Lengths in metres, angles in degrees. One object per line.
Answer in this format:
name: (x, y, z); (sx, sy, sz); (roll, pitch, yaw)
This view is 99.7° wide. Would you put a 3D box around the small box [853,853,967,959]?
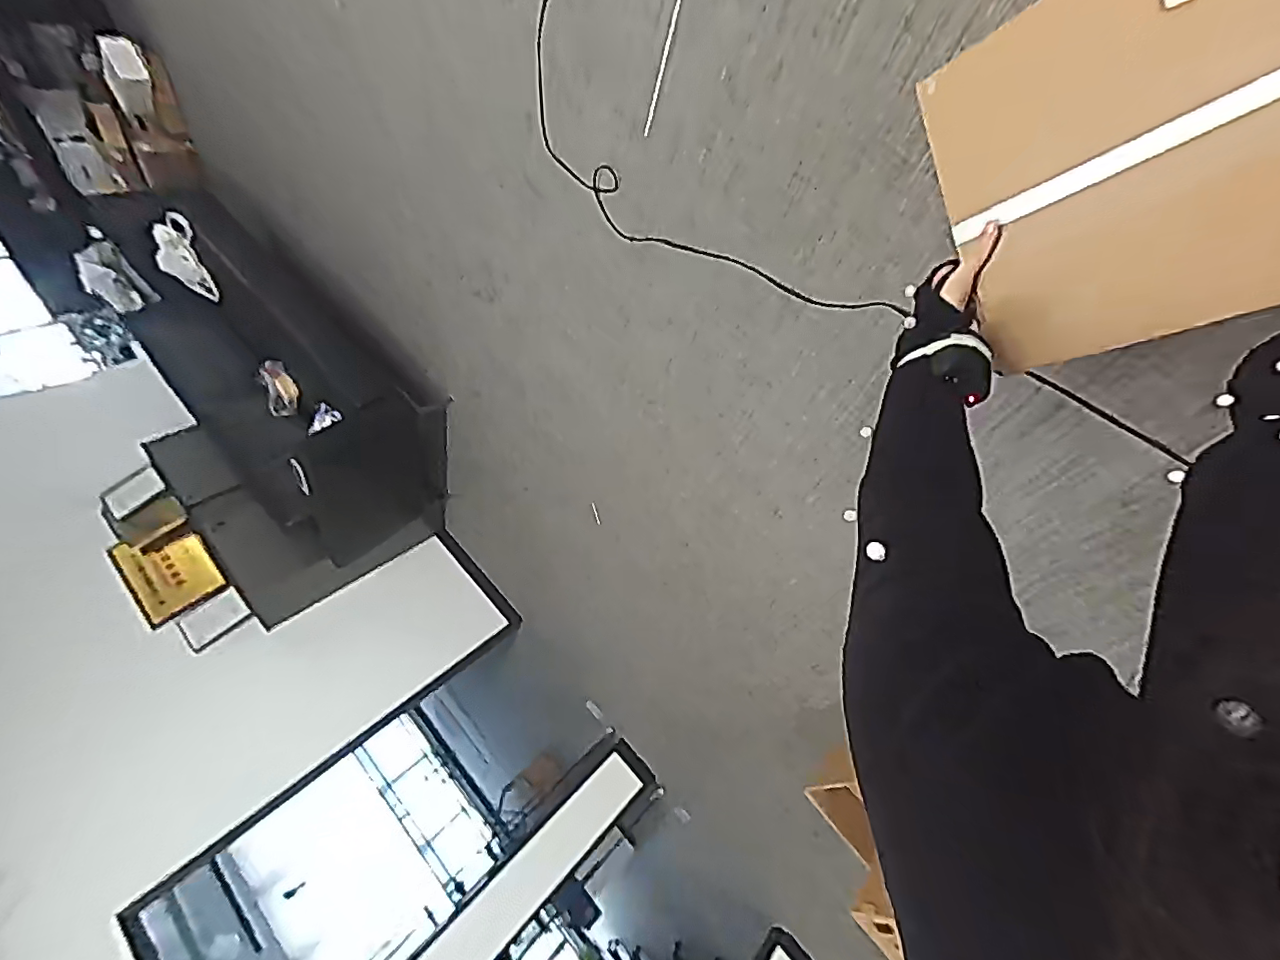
small box: (0.704, 1.115, 1.411); (0.179, 0.176, 0.168); (47, 143, 10)
